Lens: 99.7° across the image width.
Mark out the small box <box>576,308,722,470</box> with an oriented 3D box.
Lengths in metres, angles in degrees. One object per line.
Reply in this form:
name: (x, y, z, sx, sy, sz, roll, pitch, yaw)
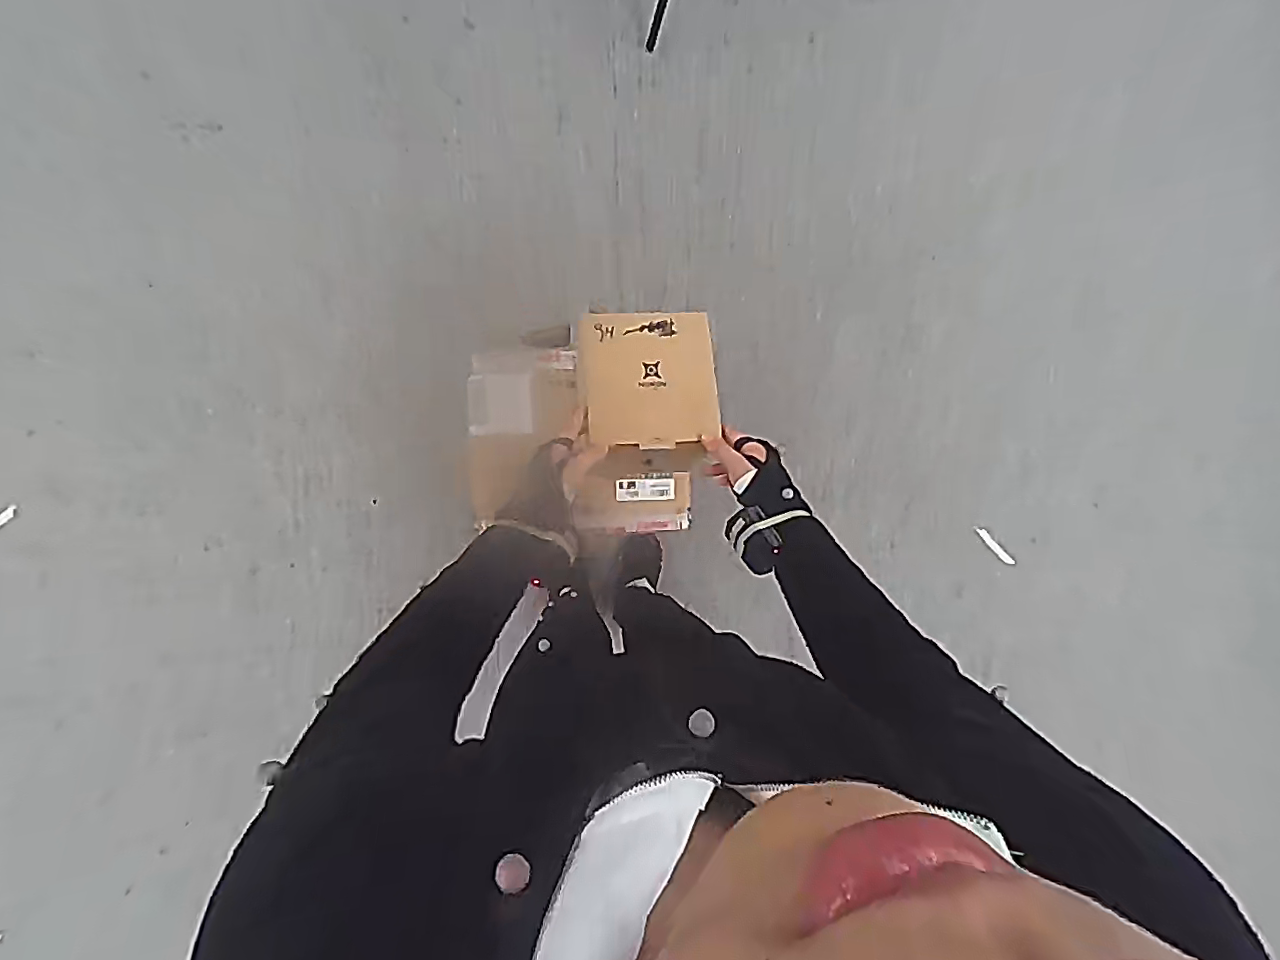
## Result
small box: (0.002, -0.112, 0.730, 0.168, 0.176, 0.179, -4, 79, -9)
